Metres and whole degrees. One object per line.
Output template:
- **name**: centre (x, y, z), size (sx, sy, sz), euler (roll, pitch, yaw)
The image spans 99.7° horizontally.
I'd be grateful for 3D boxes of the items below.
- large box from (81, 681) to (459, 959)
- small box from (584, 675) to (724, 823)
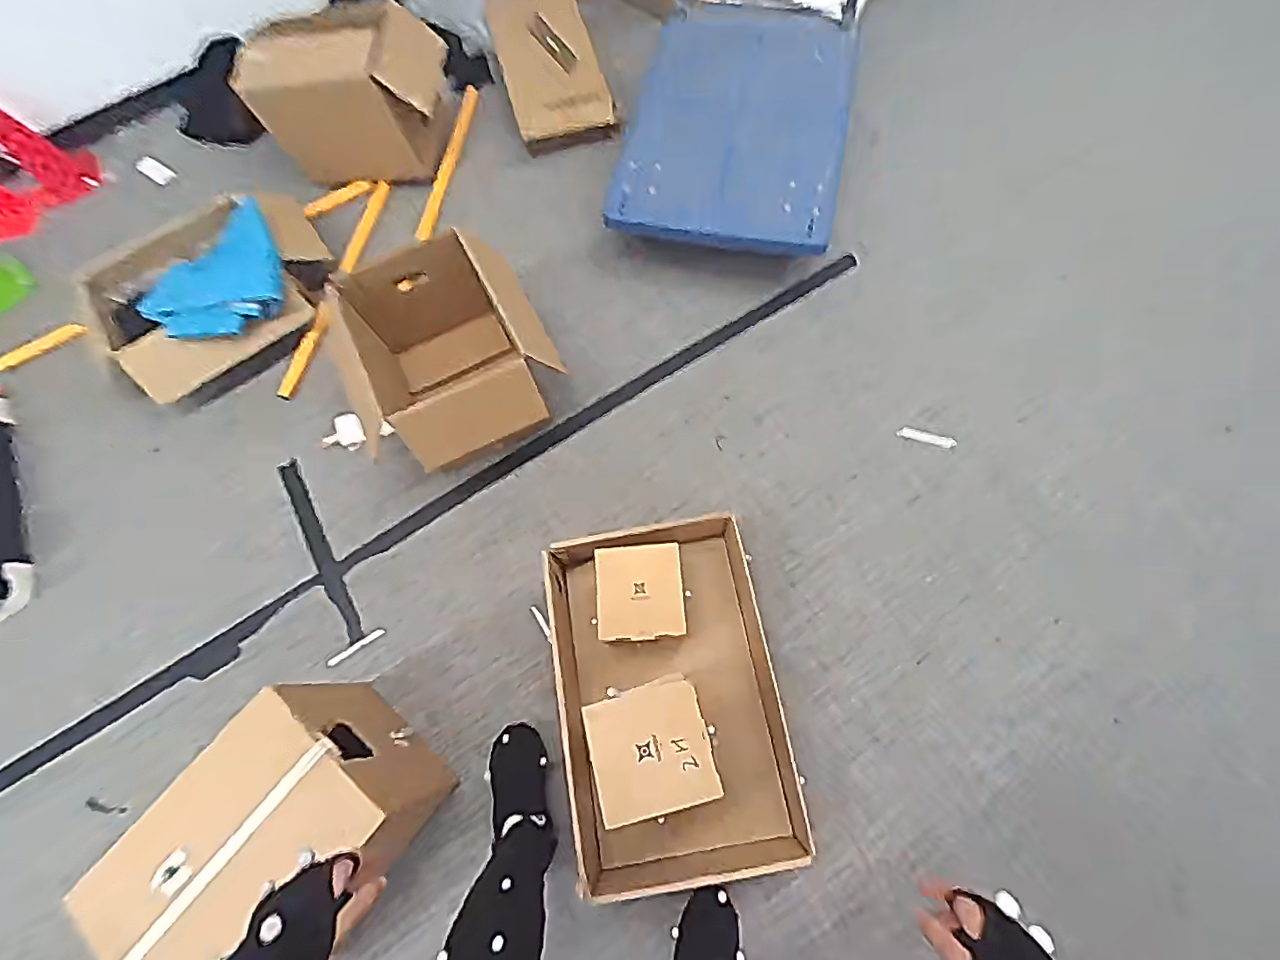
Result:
- **large box**: centre (-0.618, 0.630, 0.981), size (0.320, 0.320, 0.408), euler (36, 77, 16)
- **small box**: centre (0.023, 0.418, 0.857), size (0.179, 0.176, 0.168), euler (-14, 68, -2)
